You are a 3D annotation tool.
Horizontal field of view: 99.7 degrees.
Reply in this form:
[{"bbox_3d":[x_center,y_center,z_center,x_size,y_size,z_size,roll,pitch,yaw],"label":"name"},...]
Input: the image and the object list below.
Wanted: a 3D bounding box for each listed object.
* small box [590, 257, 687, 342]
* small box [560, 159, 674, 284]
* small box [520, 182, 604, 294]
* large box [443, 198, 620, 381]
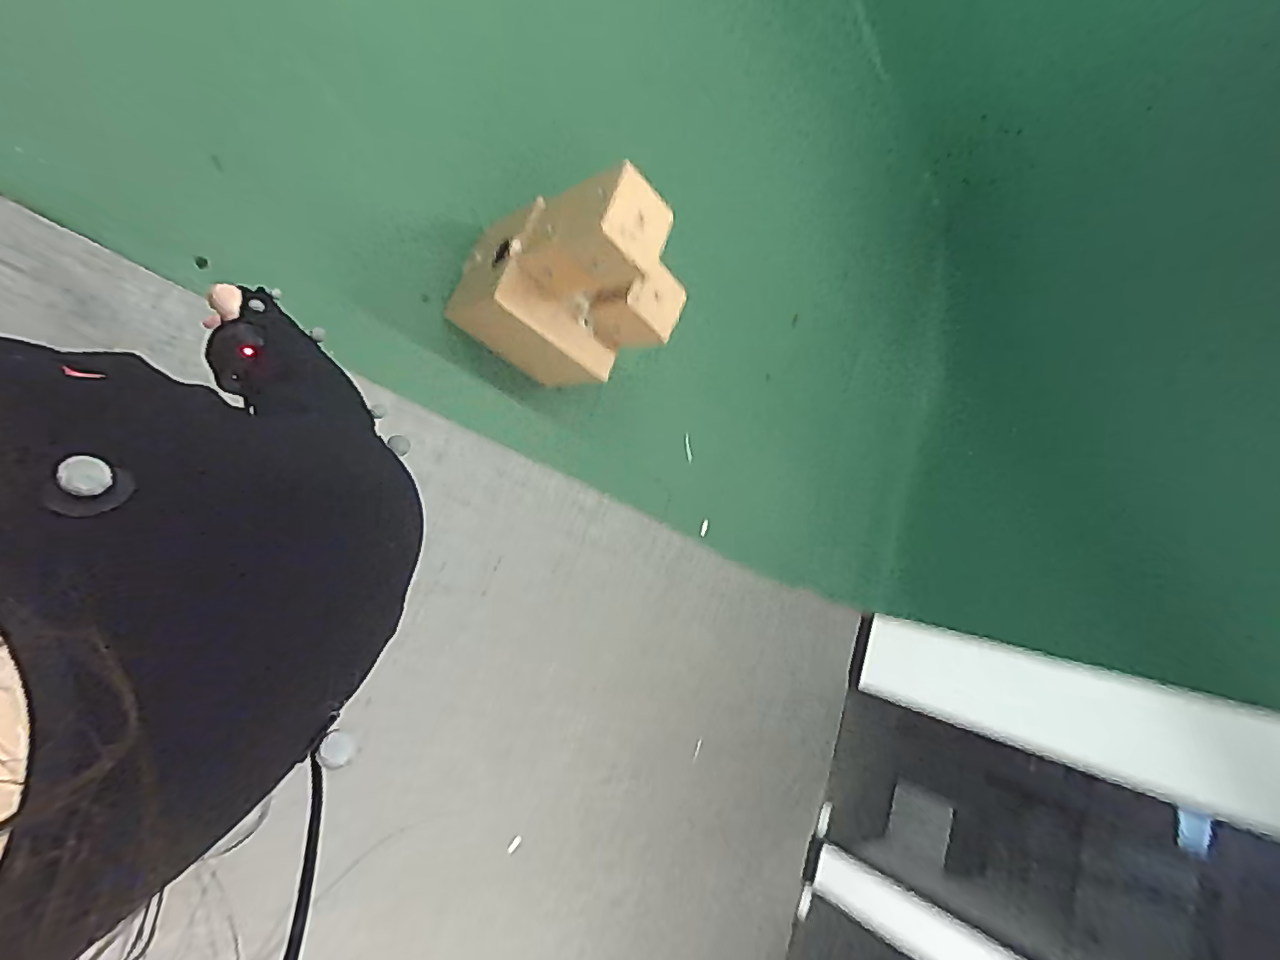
[{"bbox_3d":[-0.006,-0.502,1.508,0.179,0.176,0.168,37,69,-39],"label":"small box"},{"bbox_3d":[-0.056,-0.575,1.228,0.168,0.176,0.179,29,75,-42],"label":"small box"},{"bbox_3d":[-0.171,-0.592,1.345,0.168,0.176,0.179,31,73,-42],"label":"small box"},{"bbox_3d":[-0.285,-0.524,1.579,0.408,0.320,0.320,31,74,-42],"label":"large box"}]
